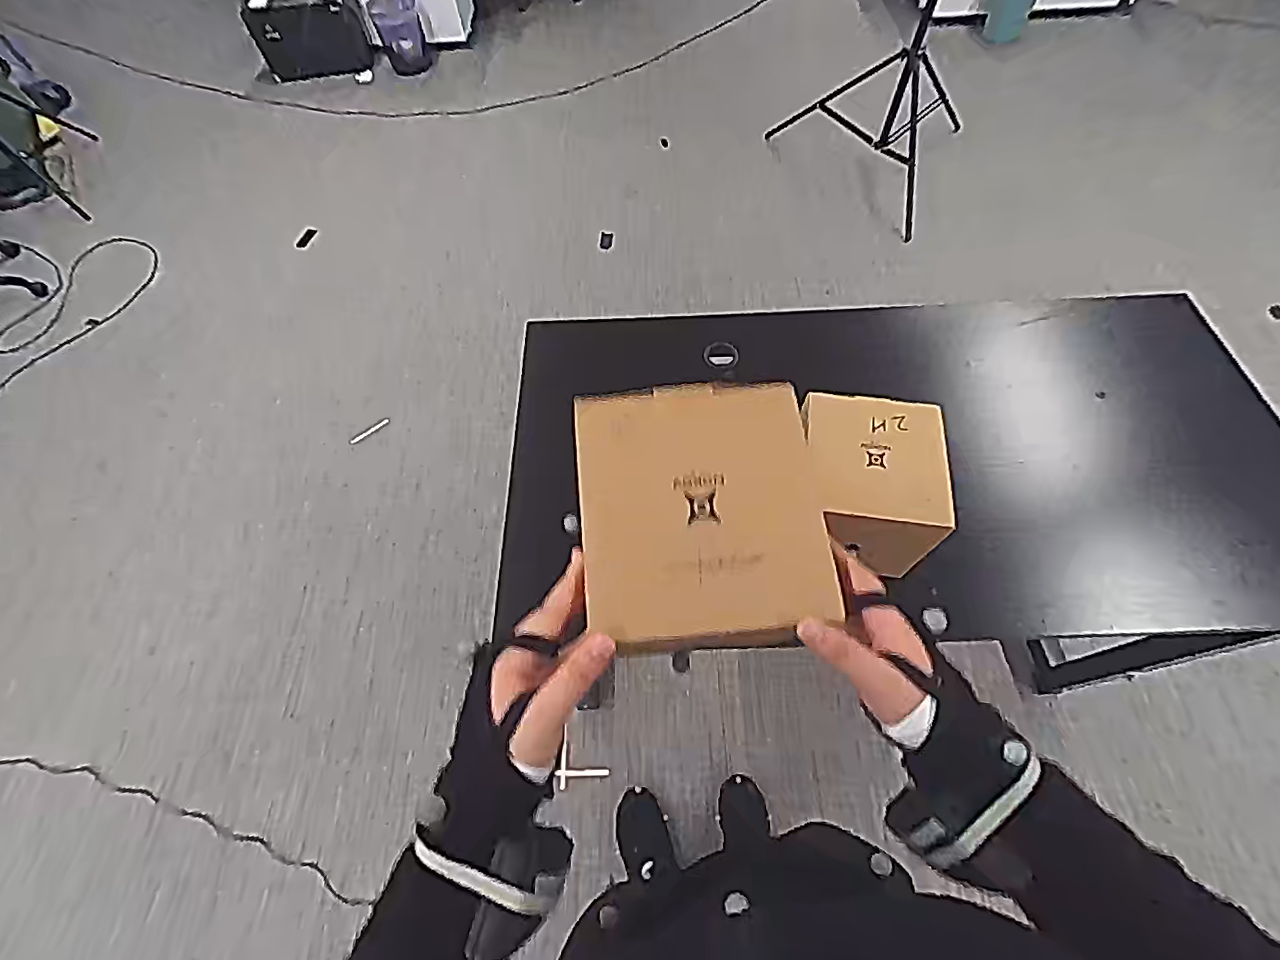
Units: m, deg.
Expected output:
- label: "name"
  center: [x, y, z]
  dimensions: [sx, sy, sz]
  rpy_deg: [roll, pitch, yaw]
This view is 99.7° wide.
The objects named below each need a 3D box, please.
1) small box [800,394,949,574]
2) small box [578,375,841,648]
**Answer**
- label: "small box"
  center: [0.287, 0.011, 0.727]
  dimensions: [0.168, 0.176, 0.179]
  rpy_deg: [8, 60, 6]
- label: "small box"
  center: [0.038, 0.036, 0.444]
  dimensions: [0.168, 0.176, 0.179]
  rpy_deg: [-5, 70, -4]
